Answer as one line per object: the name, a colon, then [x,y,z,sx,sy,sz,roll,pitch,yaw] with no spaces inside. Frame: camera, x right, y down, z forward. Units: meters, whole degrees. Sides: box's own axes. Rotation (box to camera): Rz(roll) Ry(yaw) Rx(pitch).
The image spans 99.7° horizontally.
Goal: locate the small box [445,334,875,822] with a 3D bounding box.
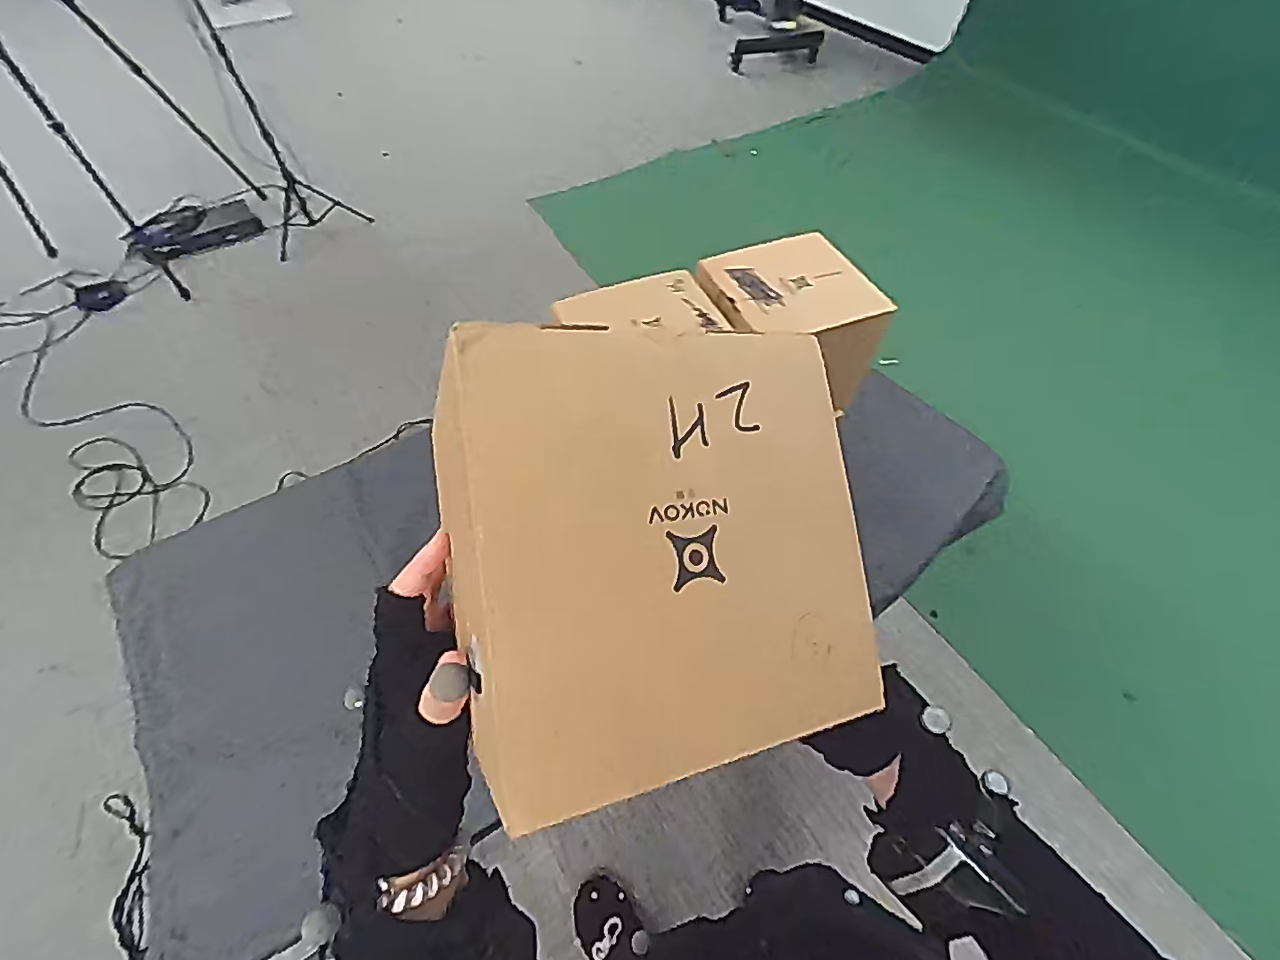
small box: [-0.010,0.038,0.294,0.168,0.176,0.179,-5,82,-24]
